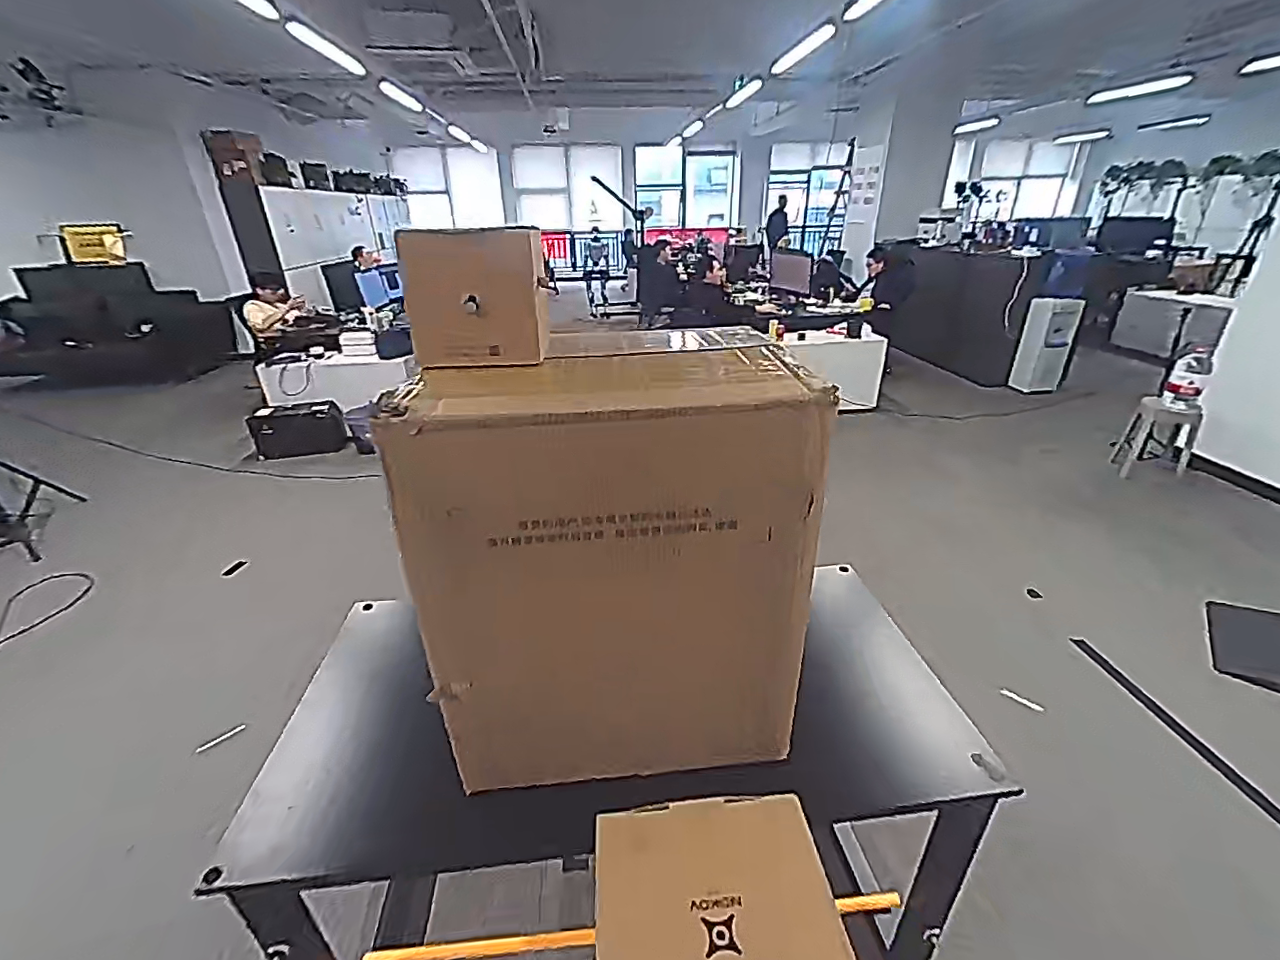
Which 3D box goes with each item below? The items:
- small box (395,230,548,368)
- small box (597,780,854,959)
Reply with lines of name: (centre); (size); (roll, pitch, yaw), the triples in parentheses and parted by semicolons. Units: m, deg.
small box: (-0.222, -0.257, 0.766); (0.168, 0.176, 0.179); (-3, 25, -5)
small box: (0.054, 0.364, 0.405); (0.168, 0.176, 0.179); (-4, 26, -3)
